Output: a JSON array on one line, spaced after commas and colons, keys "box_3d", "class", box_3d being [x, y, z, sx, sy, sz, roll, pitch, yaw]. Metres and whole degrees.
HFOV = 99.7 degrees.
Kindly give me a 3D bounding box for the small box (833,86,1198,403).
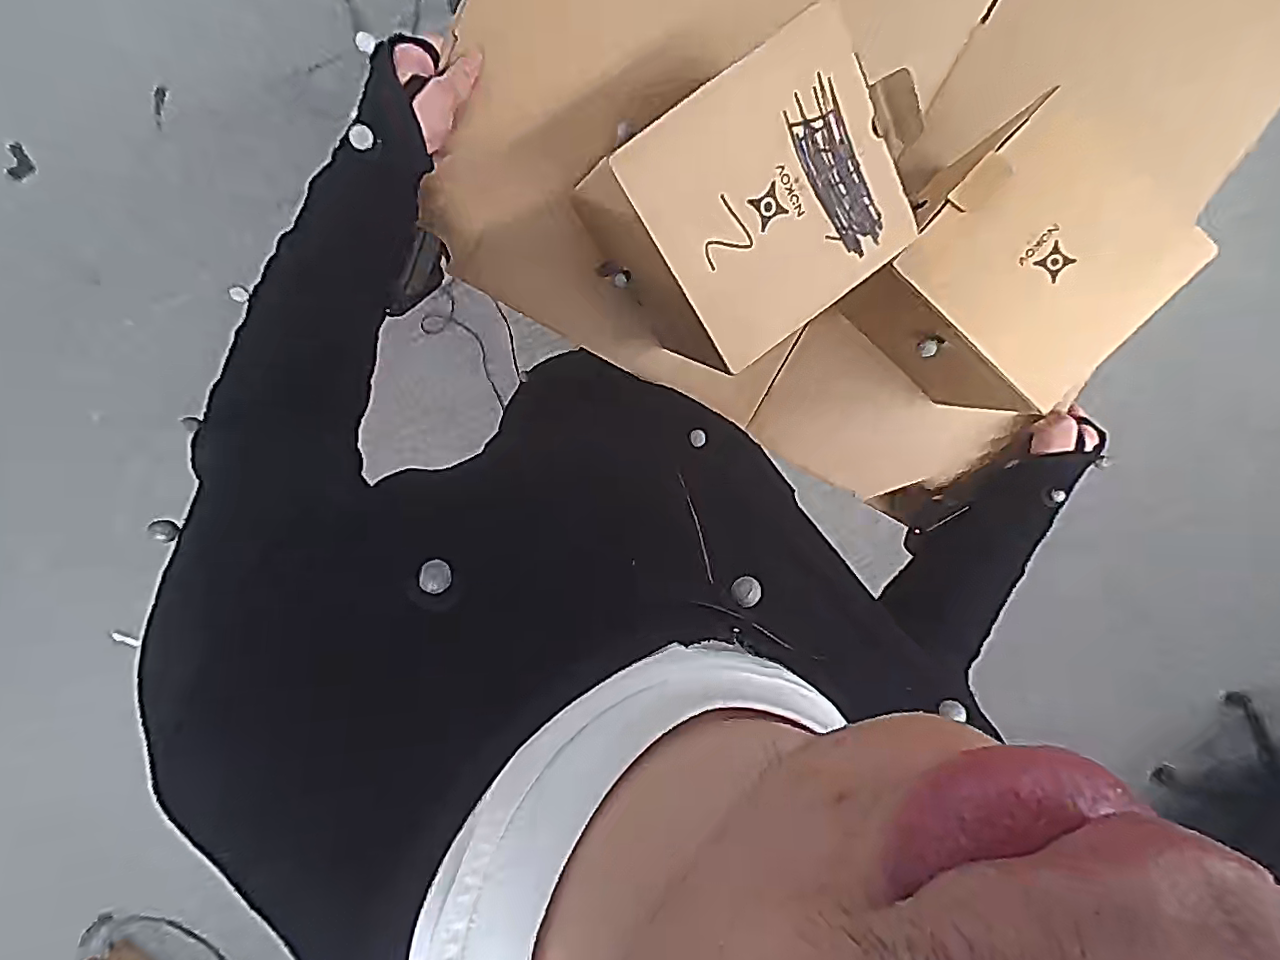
[{"box_3d": [0.313, -0.193, 0.496, 0.179, 0.176, 0.168, 41, 100, -4], "class": "small box"}]
